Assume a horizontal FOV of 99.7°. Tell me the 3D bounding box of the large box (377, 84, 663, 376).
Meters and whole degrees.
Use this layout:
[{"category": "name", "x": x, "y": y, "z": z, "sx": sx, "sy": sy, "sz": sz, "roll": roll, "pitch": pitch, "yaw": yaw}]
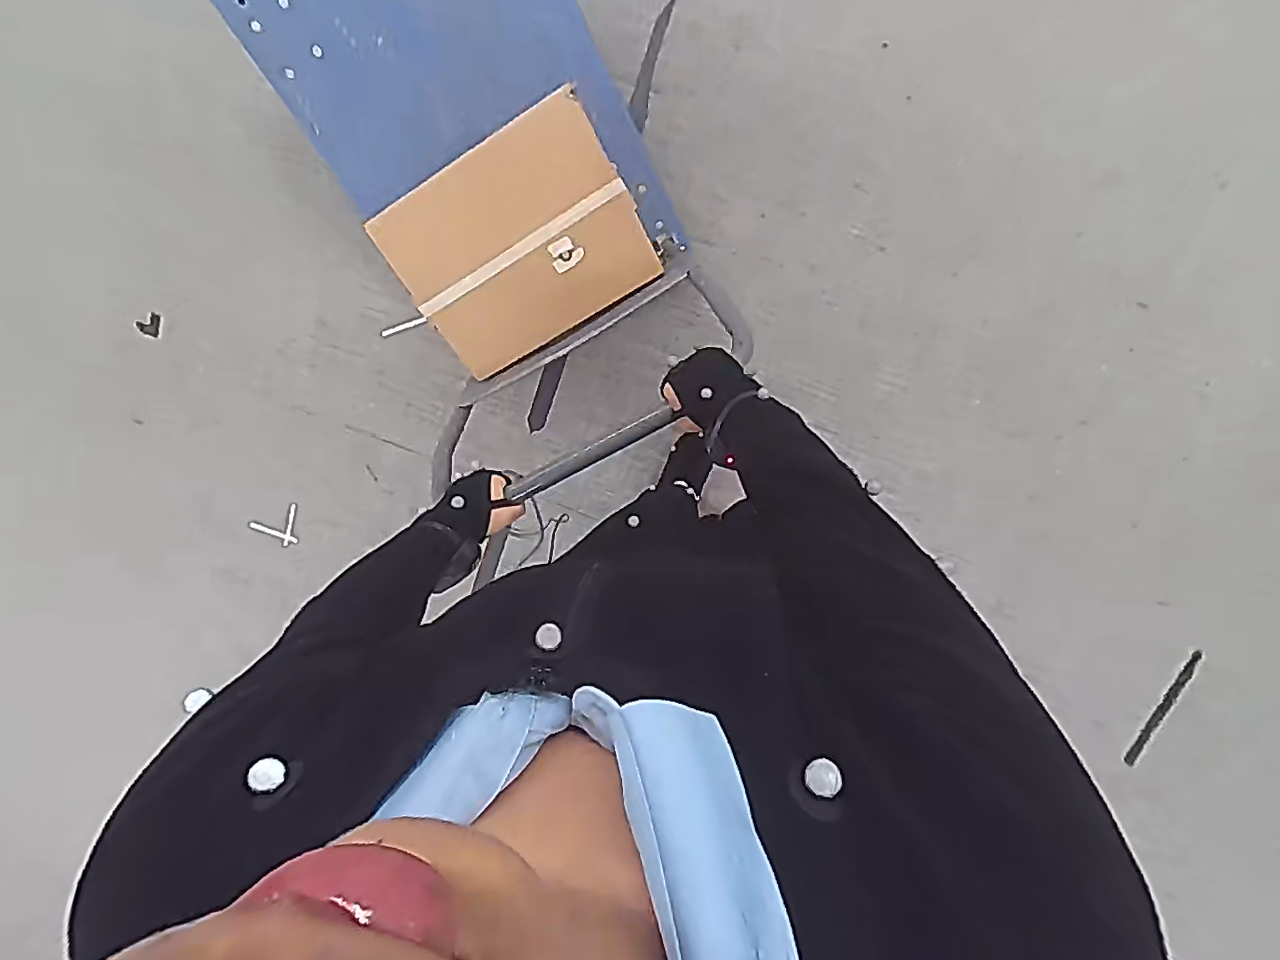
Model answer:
[{"category": "large box", "x": -0.213, "y": -0.472, "z": 1.067, "sx": 0.408, "sy": 0.320, "sz": 0.320, "roll": -29, "pitch": 117, "yaw": 10}]
